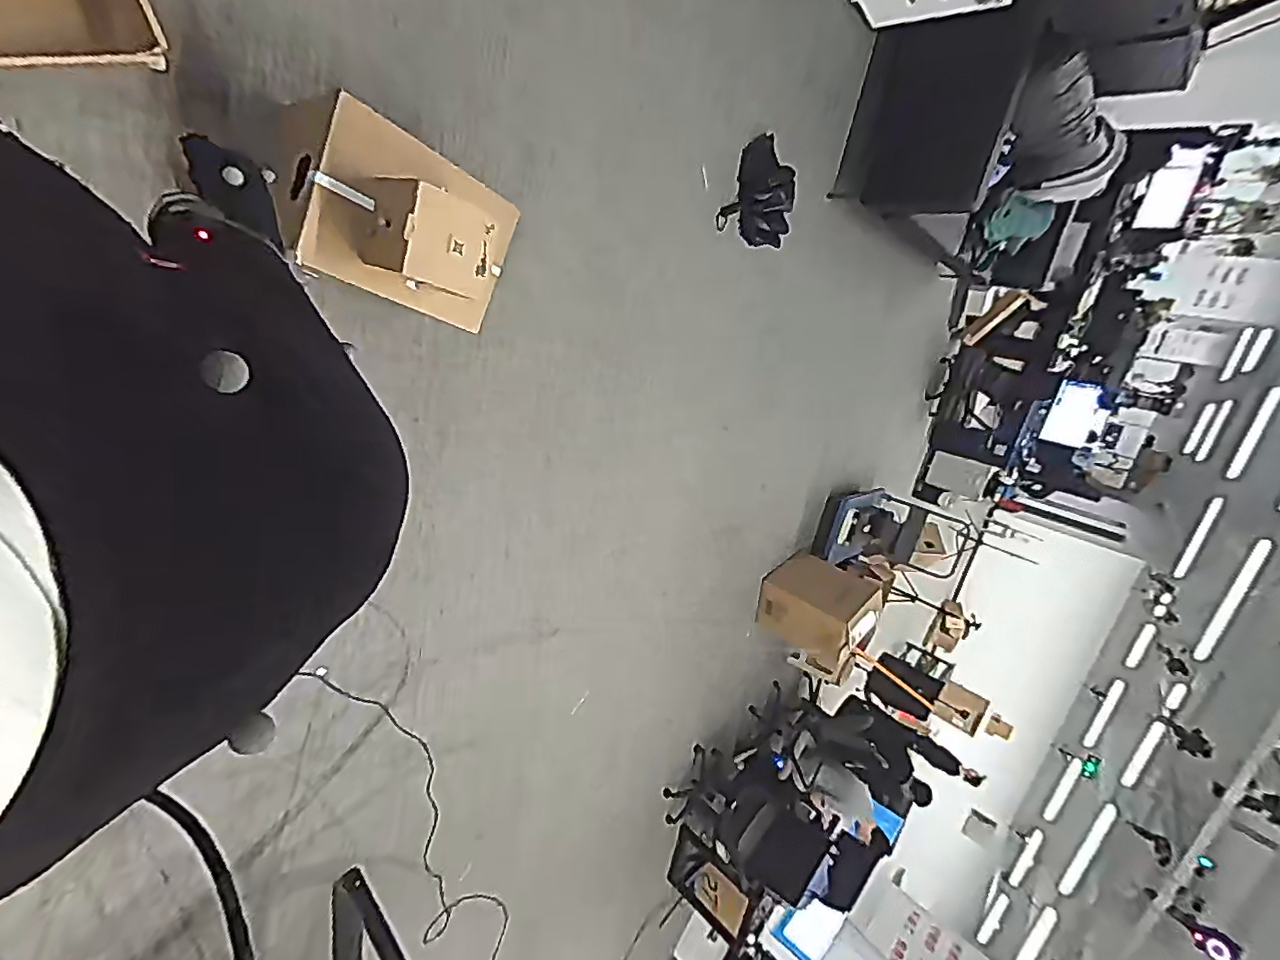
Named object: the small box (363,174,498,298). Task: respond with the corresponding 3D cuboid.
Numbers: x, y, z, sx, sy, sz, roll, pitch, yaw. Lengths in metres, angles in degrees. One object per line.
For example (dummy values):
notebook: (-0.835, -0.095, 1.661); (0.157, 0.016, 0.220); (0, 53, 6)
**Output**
small box: (-0.411, -0.471, 1.053); (0.179, 0.176, 0.168); (3, 108, -50)
